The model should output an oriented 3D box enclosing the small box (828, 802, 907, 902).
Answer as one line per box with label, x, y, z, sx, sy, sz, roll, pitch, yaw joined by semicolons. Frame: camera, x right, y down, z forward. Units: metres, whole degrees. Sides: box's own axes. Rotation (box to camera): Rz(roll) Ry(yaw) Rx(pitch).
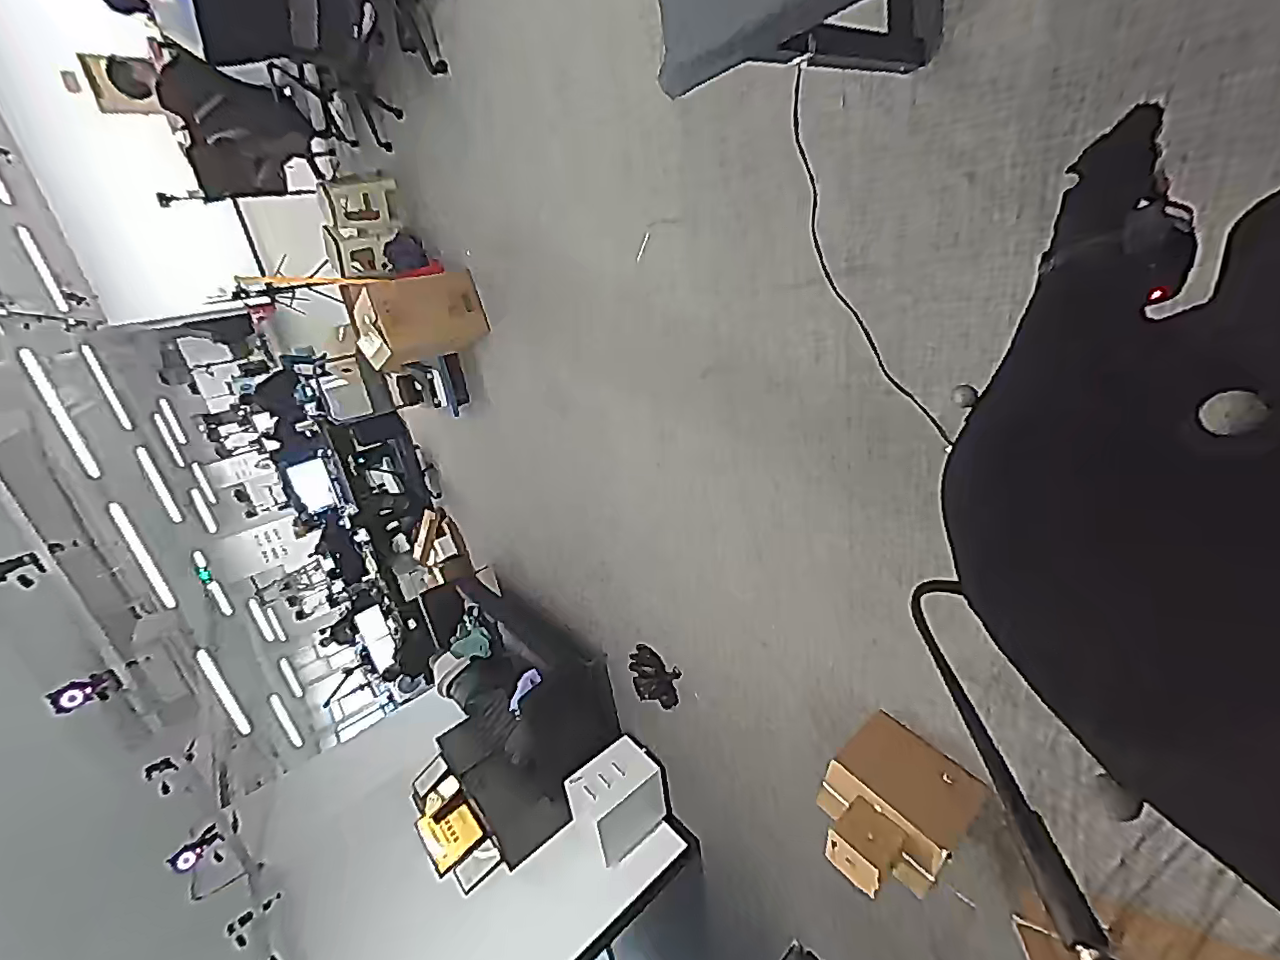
small box;0.739;1.200;1.757;0.179;0.176;0.168;26;130;44
